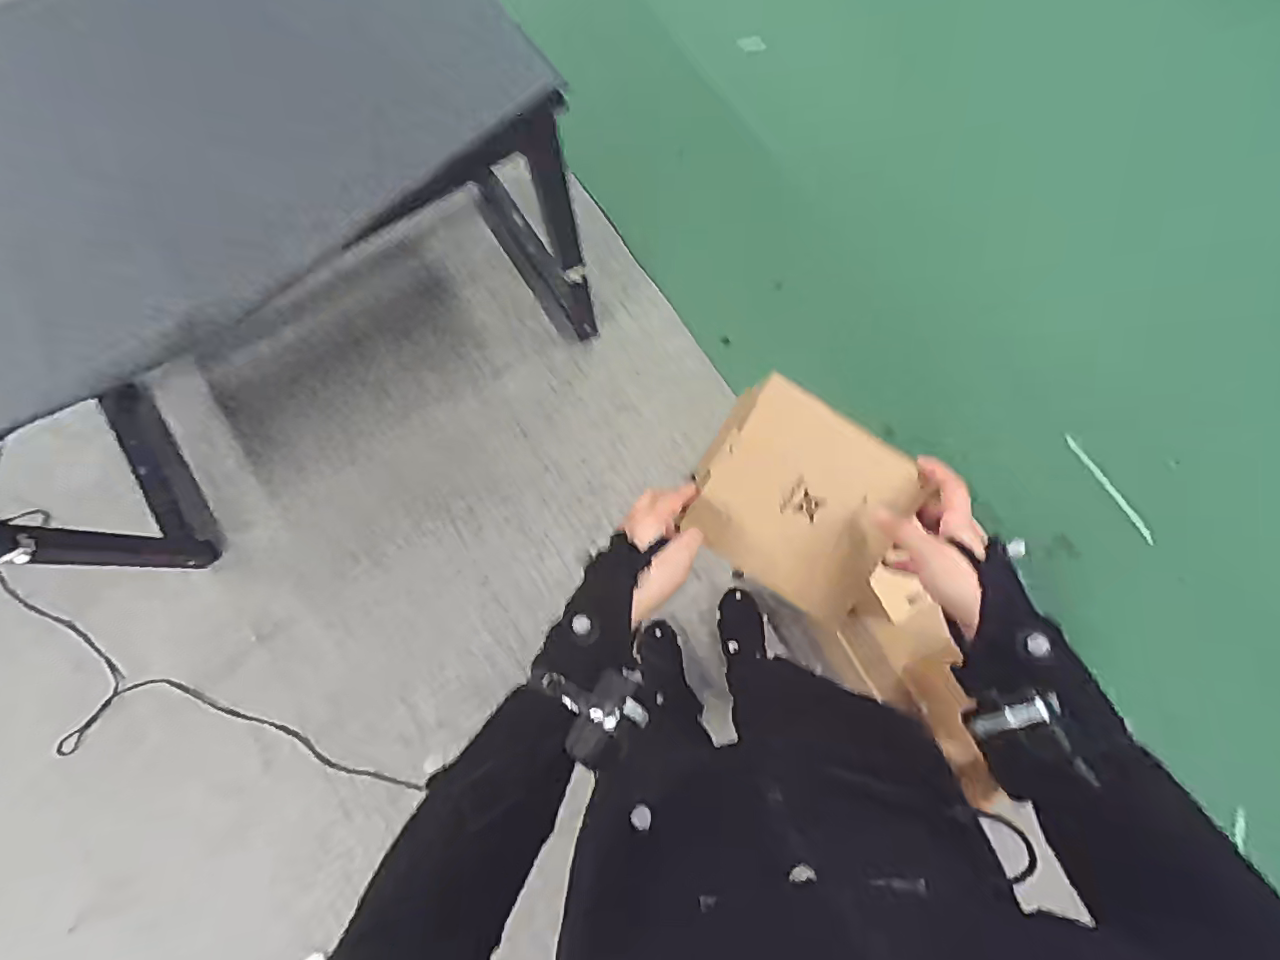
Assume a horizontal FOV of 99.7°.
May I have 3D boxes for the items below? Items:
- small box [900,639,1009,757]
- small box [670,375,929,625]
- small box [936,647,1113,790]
[{"bbox_3d":[0.706,0.458,1.168,0.179,0.176,0.168,-24,79,-2],"label":"small box"},{"bbox_3d":[0.144,0.016,0.562,0.179,0.176,0.168,32,94,-2],"label":"small box"},{"bbox_3d":[0.699,0.430,1.005,0.168,0.176,0.179,-23,79,-3],"label":"small box"}]
